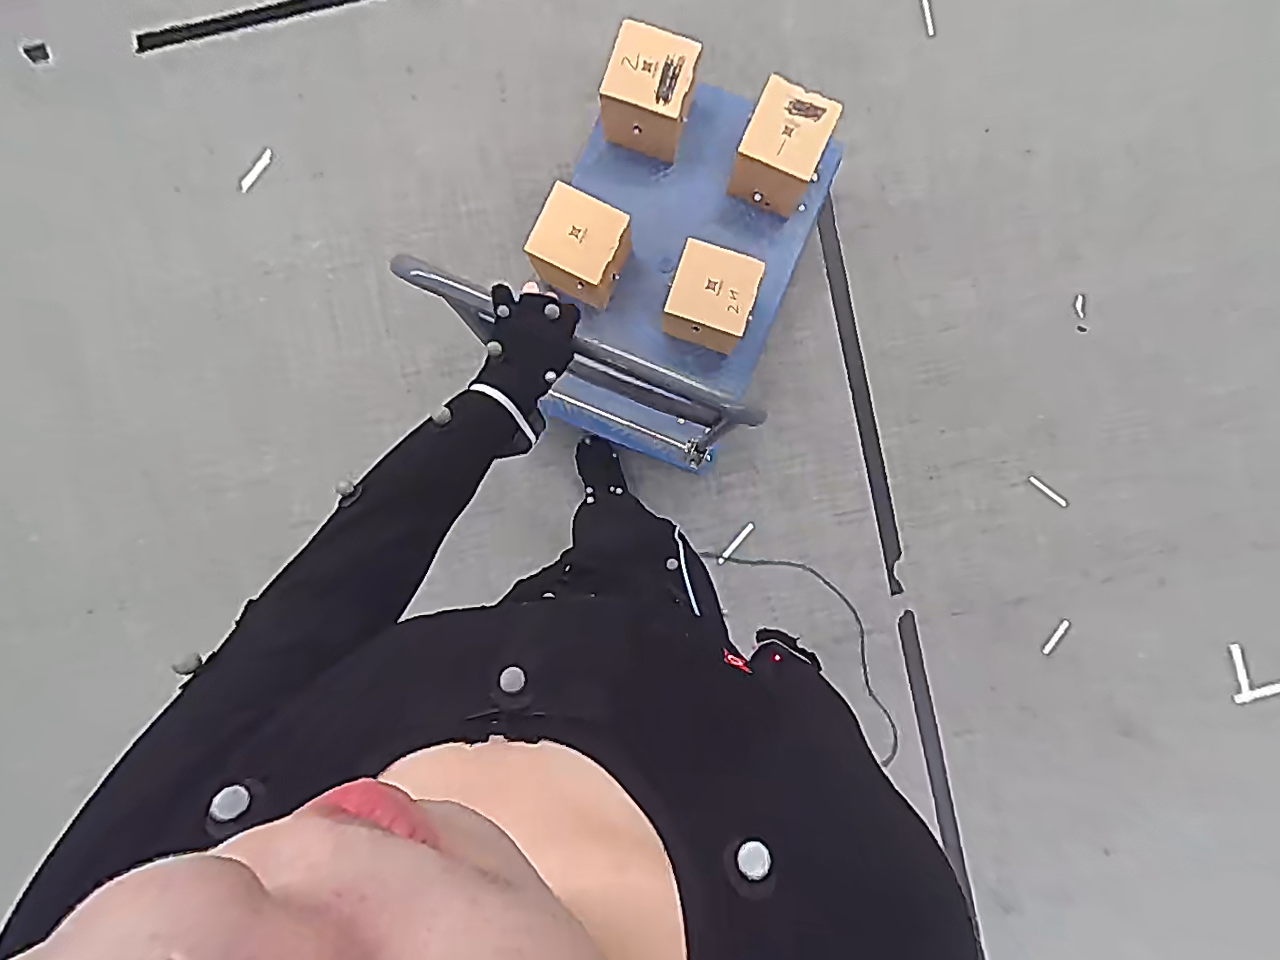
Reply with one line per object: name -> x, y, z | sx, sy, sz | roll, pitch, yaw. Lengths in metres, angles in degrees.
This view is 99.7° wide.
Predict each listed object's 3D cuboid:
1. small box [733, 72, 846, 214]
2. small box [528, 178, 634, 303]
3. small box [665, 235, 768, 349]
small box -> 0.320, -0.736, 1.199 | 0.168, 0.176, 0.179 | 25, 92, 1
small box -> -0.125, -0.523, 1.208 | 0.179, 0.176, 0.168 | 26, 90, -1
small box -> 0.162, -0.408, 1.205 | 0.179, 0.176, 0.168 | 20, 91, 1
